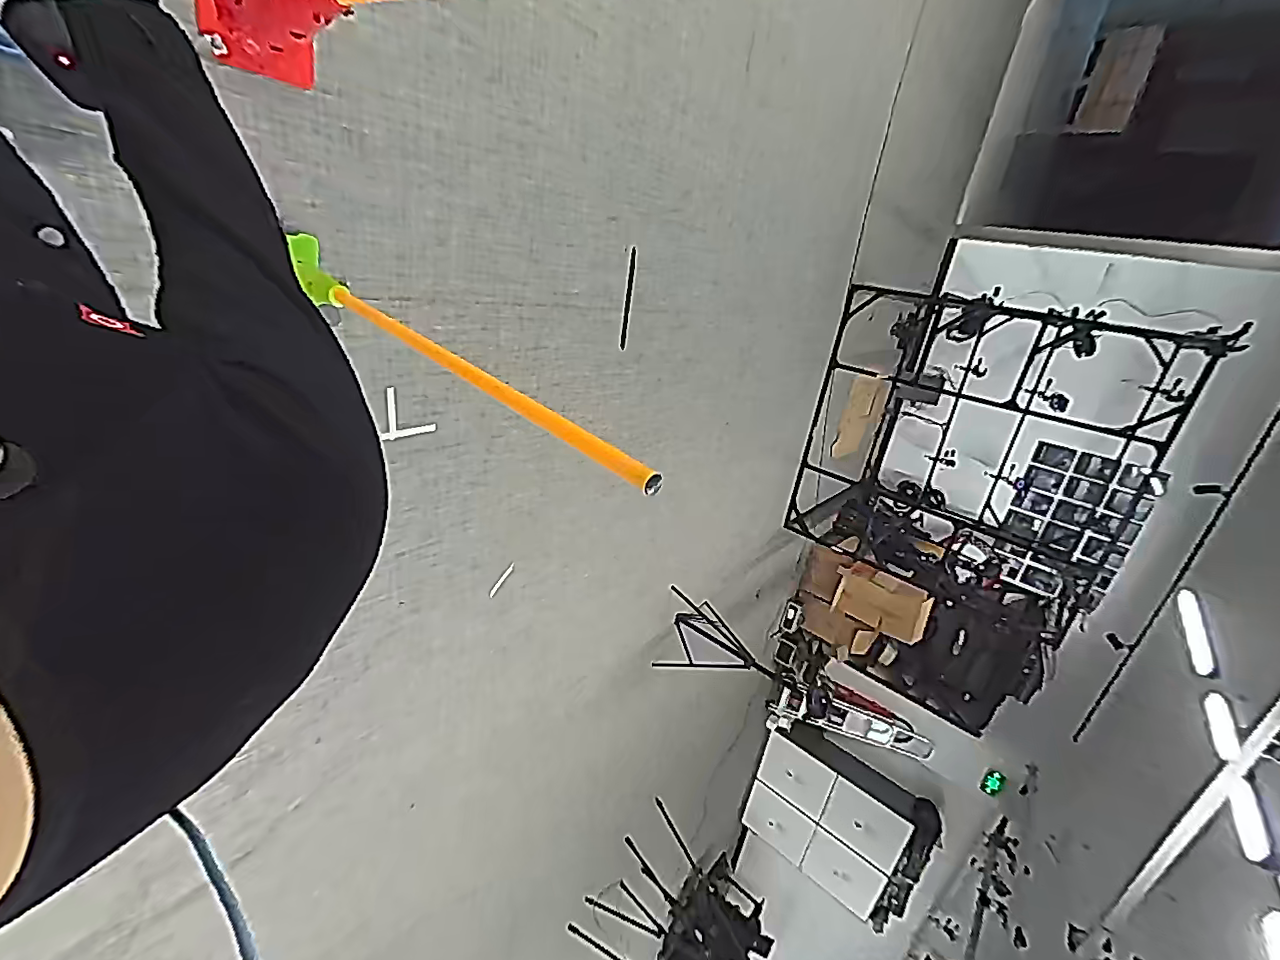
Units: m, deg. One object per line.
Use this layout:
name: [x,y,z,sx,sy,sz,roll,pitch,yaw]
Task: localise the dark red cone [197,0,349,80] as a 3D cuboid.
dark red cone: [-0.609,-0.862,0.957,0.201,0.394,0.202,-19,126,-50]
